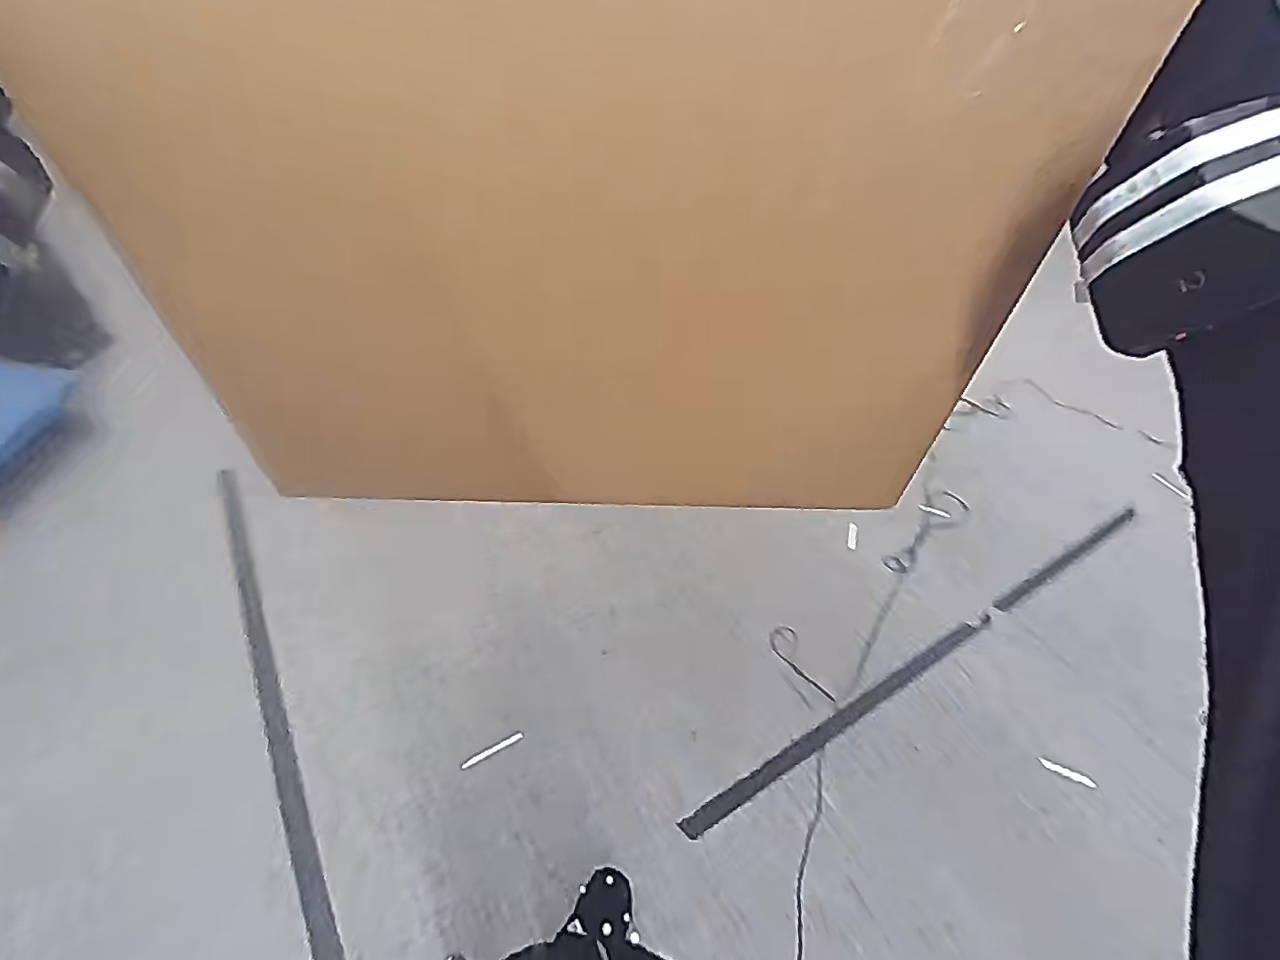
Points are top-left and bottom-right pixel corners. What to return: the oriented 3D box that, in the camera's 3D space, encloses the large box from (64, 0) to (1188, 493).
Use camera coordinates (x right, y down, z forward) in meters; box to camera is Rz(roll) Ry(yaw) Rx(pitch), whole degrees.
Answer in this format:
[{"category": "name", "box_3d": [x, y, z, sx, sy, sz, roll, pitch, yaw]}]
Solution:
[{"category": "large box", "box_3d": [-0.011, -0.204, 0.361, 0.408, 0.320, 0.320, 2, 47, -3]}]
